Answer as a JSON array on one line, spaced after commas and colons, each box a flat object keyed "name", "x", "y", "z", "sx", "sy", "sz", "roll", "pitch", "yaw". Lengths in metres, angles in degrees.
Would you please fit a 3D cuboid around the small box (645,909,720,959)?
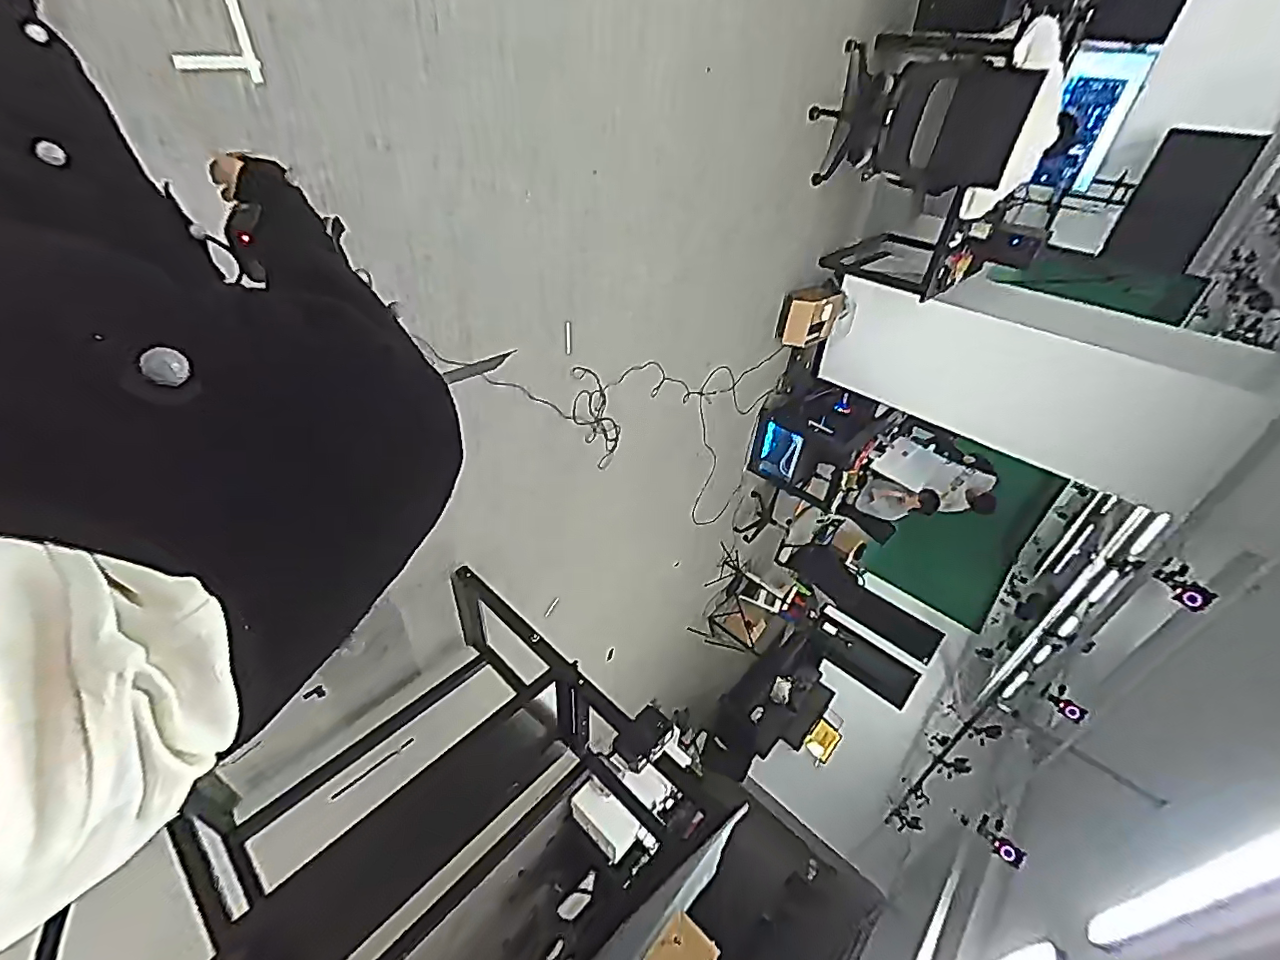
[{"name": "small box", "x": 0.126, "y": 1.497, "z": 1.690, "sx": 0.168, "sy": 0.176, "sz": 0.179, "roll": -33, "pitch": 140, "yaw": -36}]
